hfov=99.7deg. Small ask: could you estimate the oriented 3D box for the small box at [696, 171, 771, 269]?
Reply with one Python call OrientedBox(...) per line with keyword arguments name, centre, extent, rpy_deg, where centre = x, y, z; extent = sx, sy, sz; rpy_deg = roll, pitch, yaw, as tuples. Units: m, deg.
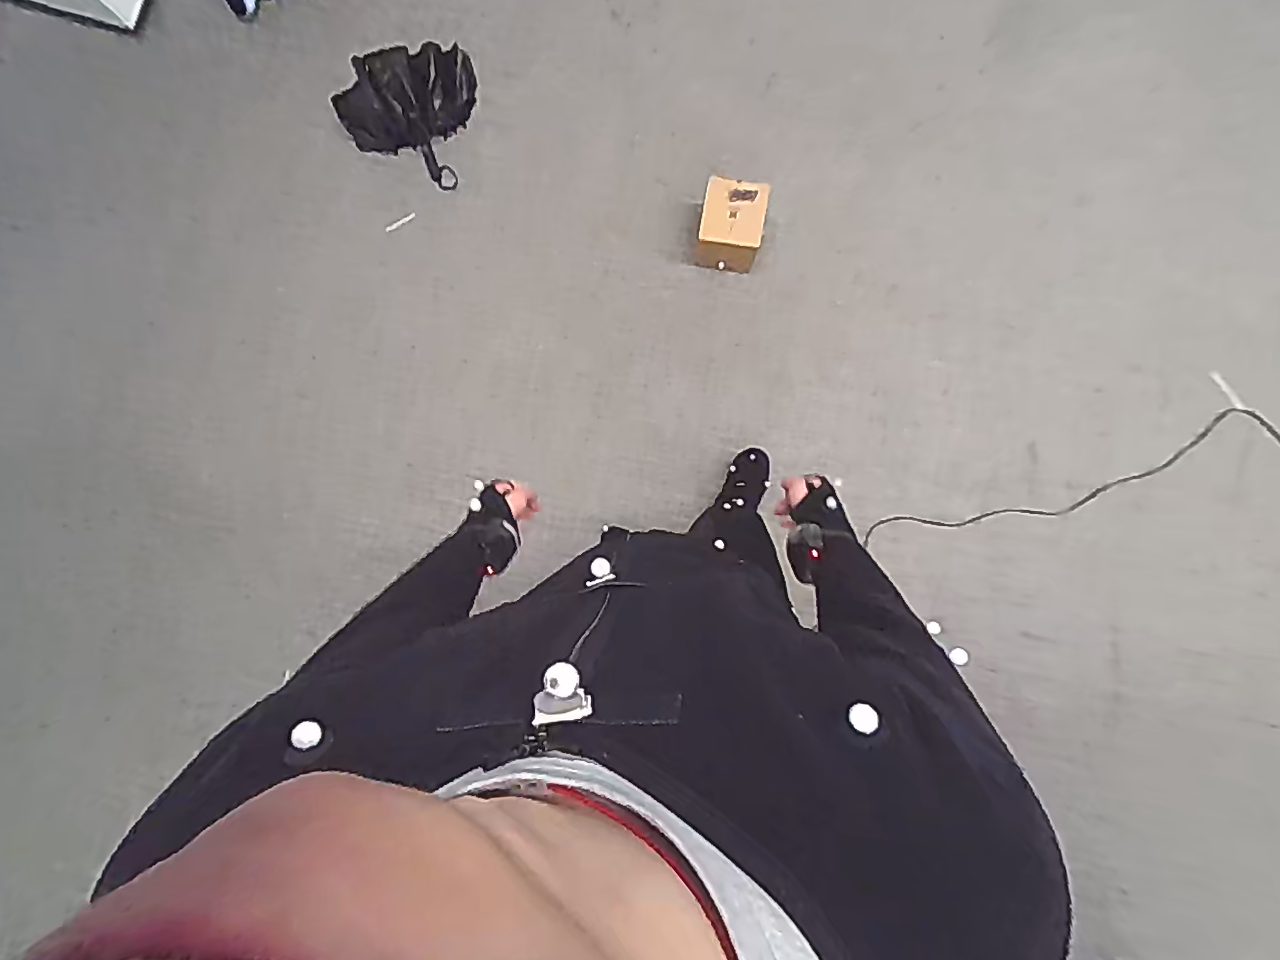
OrientedBox(name="small box", centre=(0.251, -0.709, 1.489), extent=(0.168, 0.176, 0.179), rpy_deg=(10, 90, 3))
